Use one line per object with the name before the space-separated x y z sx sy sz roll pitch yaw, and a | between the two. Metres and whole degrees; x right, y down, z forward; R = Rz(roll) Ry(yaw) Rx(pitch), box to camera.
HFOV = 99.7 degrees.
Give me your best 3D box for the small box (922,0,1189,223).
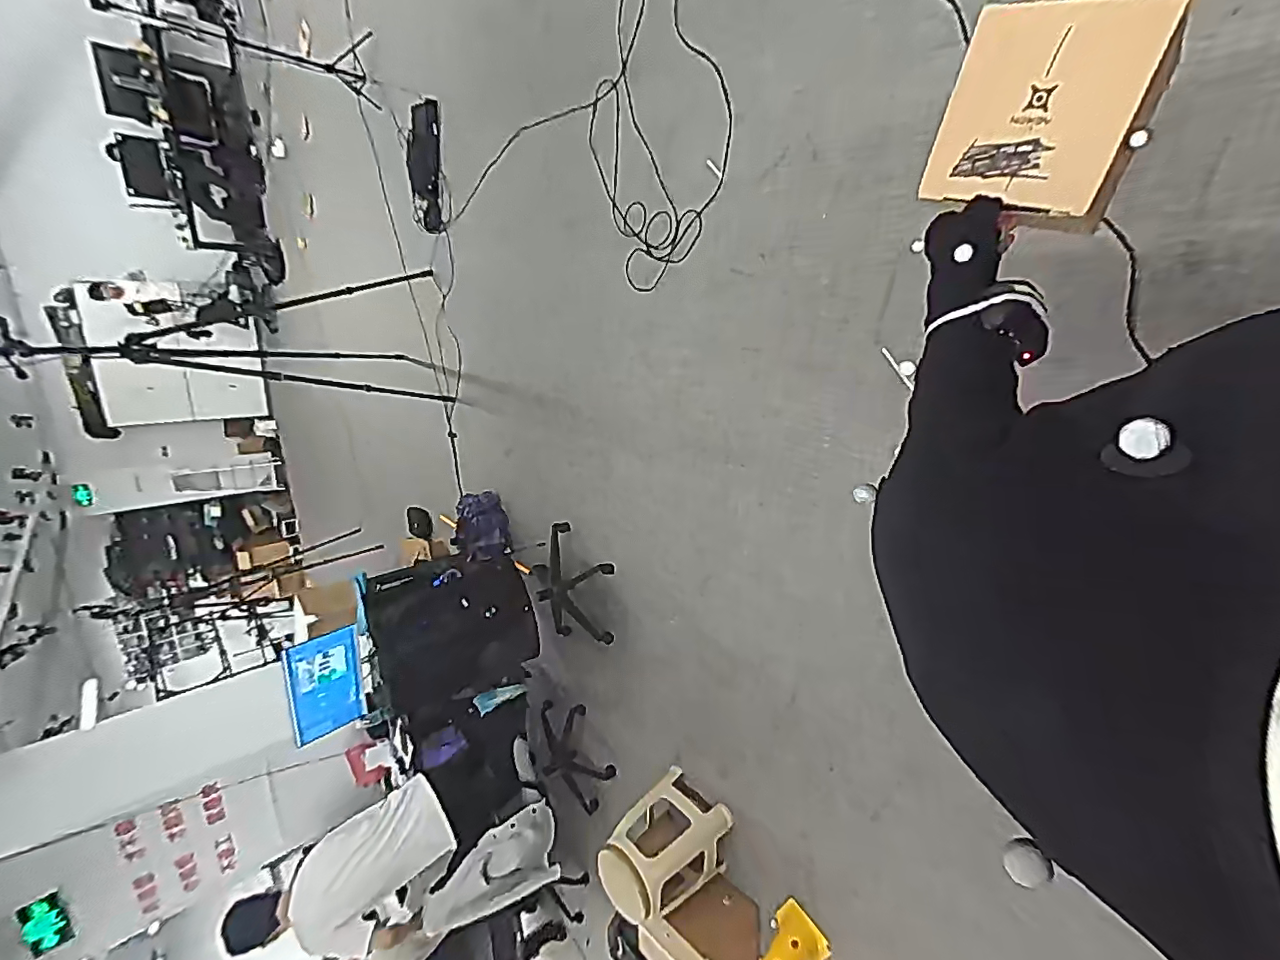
small box | 0.446 -0.393 0.592 0.168 0.176 0.179 28 120 33
